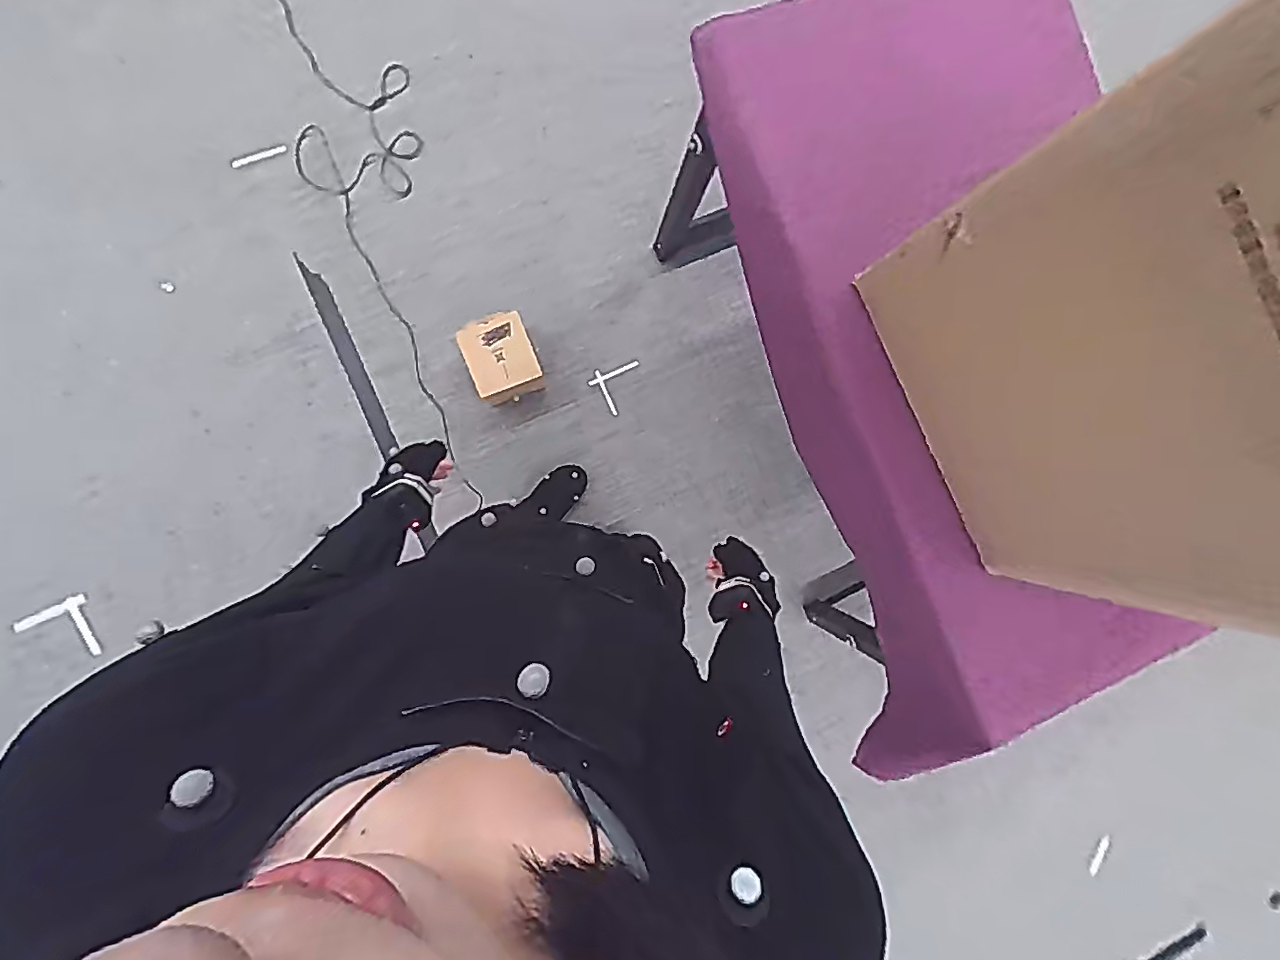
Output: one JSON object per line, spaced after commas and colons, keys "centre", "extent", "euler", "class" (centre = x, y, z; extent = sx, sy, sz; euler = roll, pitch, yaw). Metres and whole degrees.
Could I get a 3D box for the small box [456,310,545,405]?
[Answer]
{"centre": [-0.355, -0.310, 1.402], "extent": [0.168, 0.176, 0.179], "euler": [-21, 92, -7], "class": "small box"}
